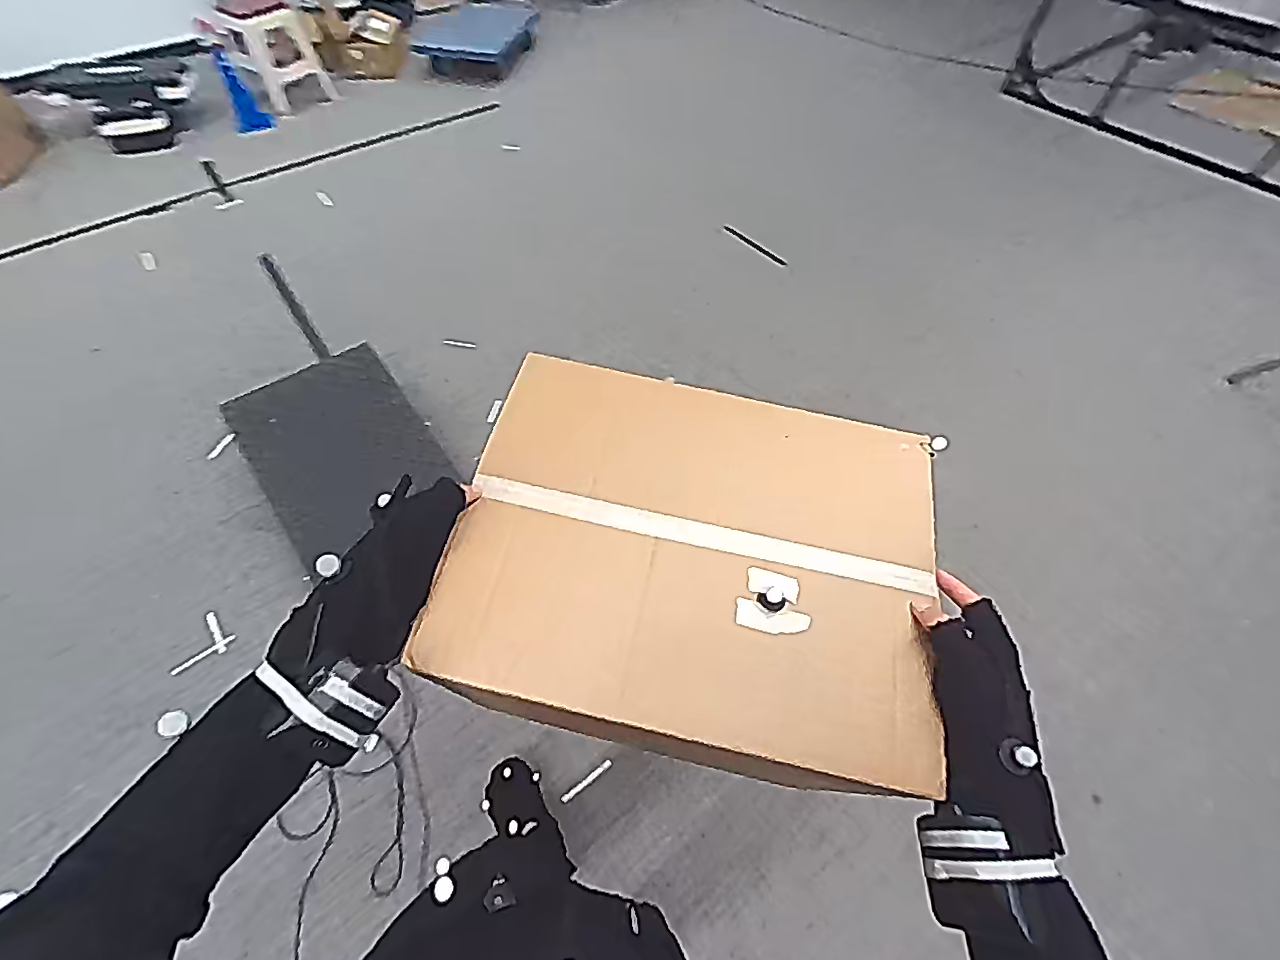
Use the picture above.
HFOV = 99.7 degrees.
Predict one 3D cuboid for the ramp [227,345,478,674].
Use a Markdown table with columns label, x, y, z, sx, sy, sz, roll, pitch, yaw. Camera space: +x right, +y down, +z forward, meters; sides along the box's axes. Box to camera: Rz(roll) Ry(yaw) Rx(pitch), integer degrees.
| label | x | y | z | sx | sy | sz | roll | pitch | yaw |
| --- | --- | --- | --- | --- | --- | --- | --- | --- | --- |
| ramp | -0.807 | 0.023 | 1.643 | 0.509 | 0.206 | 0.991 | -34 | 63 | -22 |

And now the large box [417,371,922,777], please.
| label | x | y | z | sx | sy | sz | roll | pitch | yaw |
| --- | --- | --- | --- | --- | --- | --- | --- | --- | --- |
| large box | 0.035 | 0.123 | 0.613 | 0.408 | 0.320 | 0.320 | 12 | 62 | 2 |
